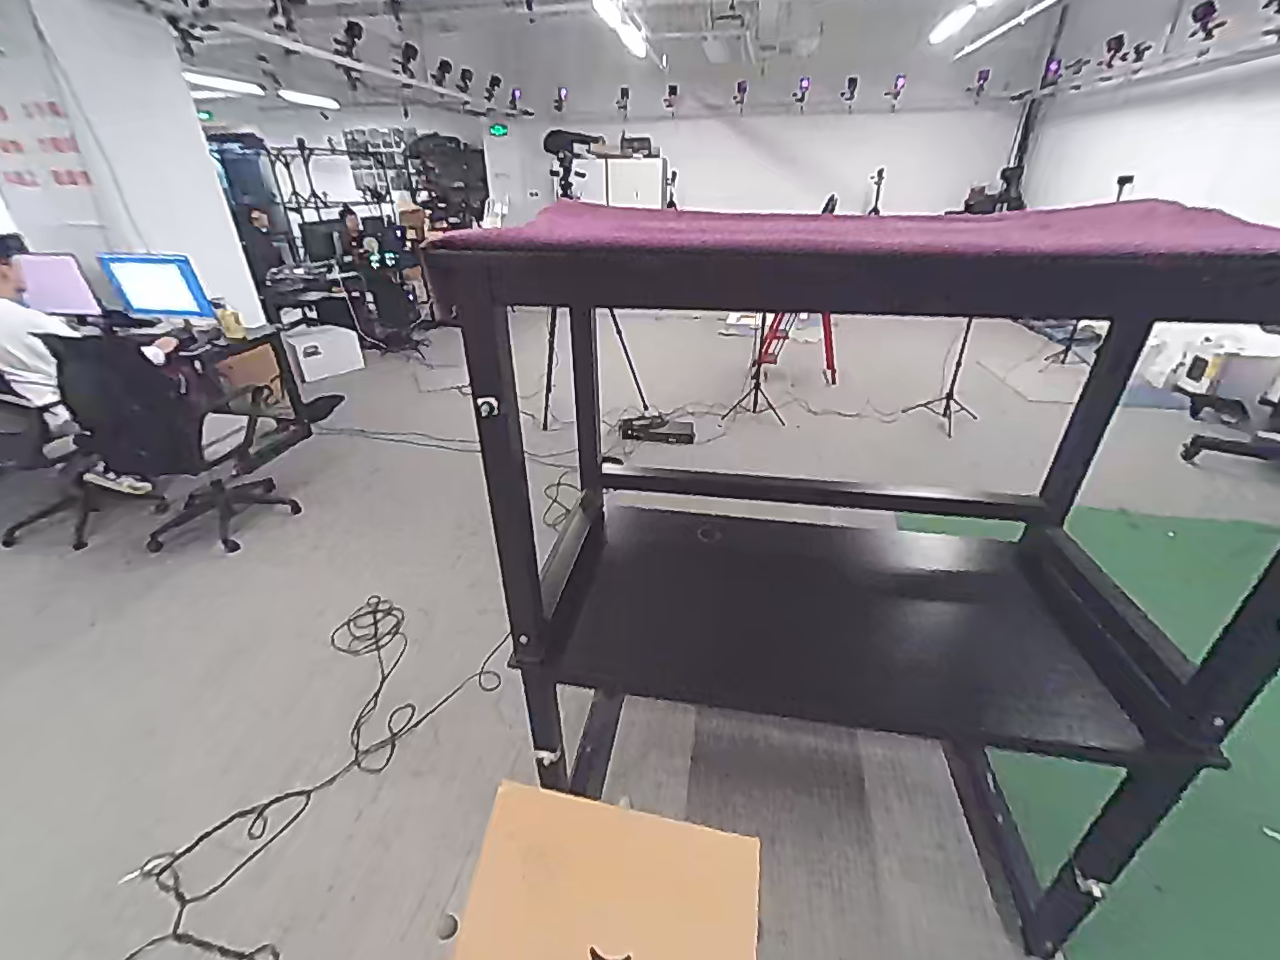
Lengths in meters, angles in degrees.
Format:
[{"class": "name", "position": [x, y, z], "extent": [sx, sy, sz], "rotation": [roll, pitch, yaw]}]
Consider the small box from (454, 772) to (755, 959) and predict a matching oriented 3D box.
[{"class": "small box", "position": [-0.033, 0.319, 0.359], "extent": [0.168, 0.176, 0.179], "rotation": [14, 54, 0]}]
